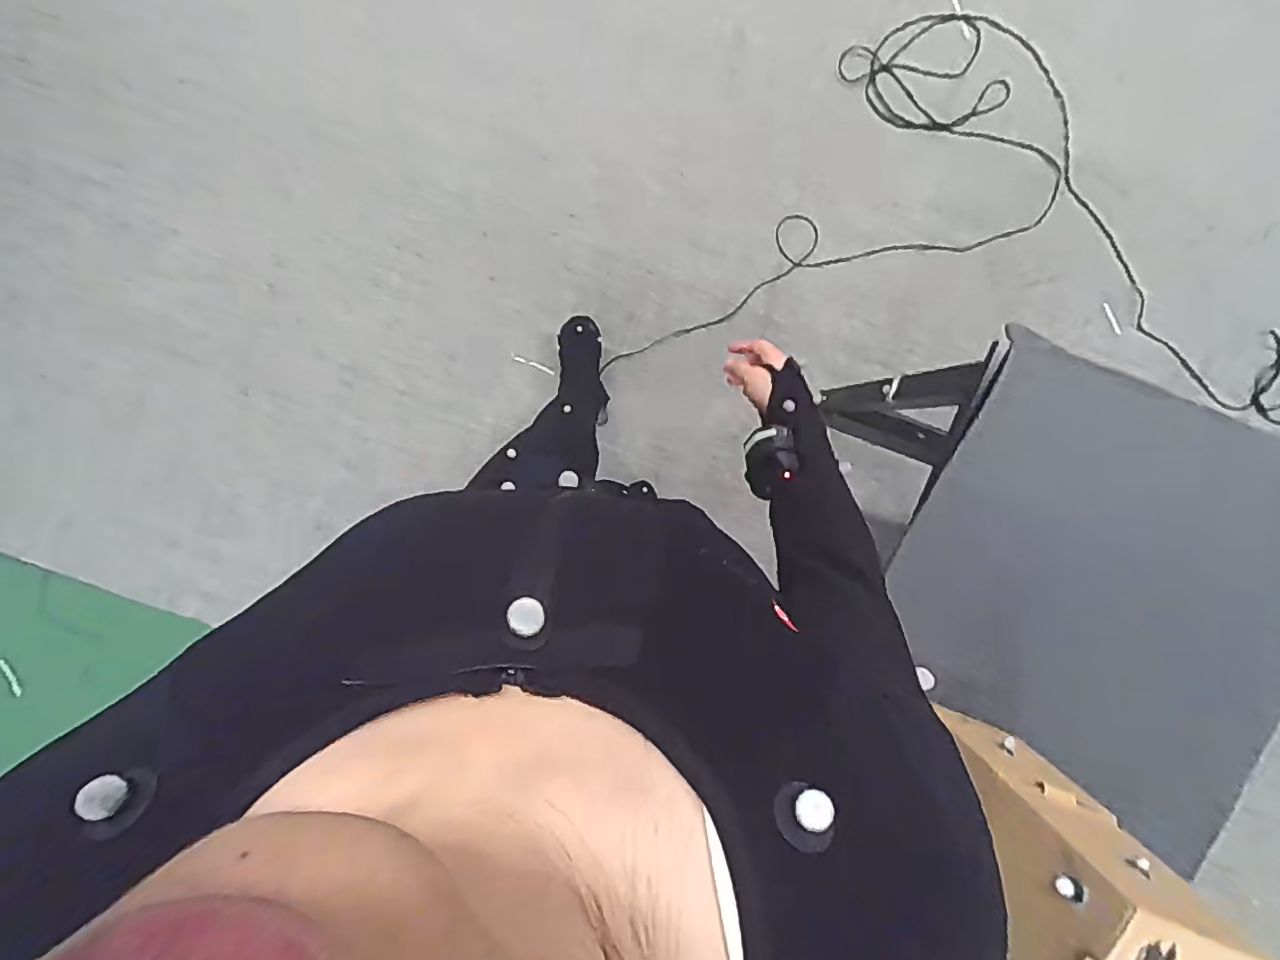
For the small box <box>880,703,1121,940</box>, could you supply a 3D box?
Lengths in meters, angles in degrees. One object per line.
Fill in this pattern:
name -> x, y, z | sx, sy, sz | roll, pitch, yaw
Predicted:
small box -> 0.448, 0.426, 0.706 | 0.168, 0.176, 0.179 | 23, 94, -4
